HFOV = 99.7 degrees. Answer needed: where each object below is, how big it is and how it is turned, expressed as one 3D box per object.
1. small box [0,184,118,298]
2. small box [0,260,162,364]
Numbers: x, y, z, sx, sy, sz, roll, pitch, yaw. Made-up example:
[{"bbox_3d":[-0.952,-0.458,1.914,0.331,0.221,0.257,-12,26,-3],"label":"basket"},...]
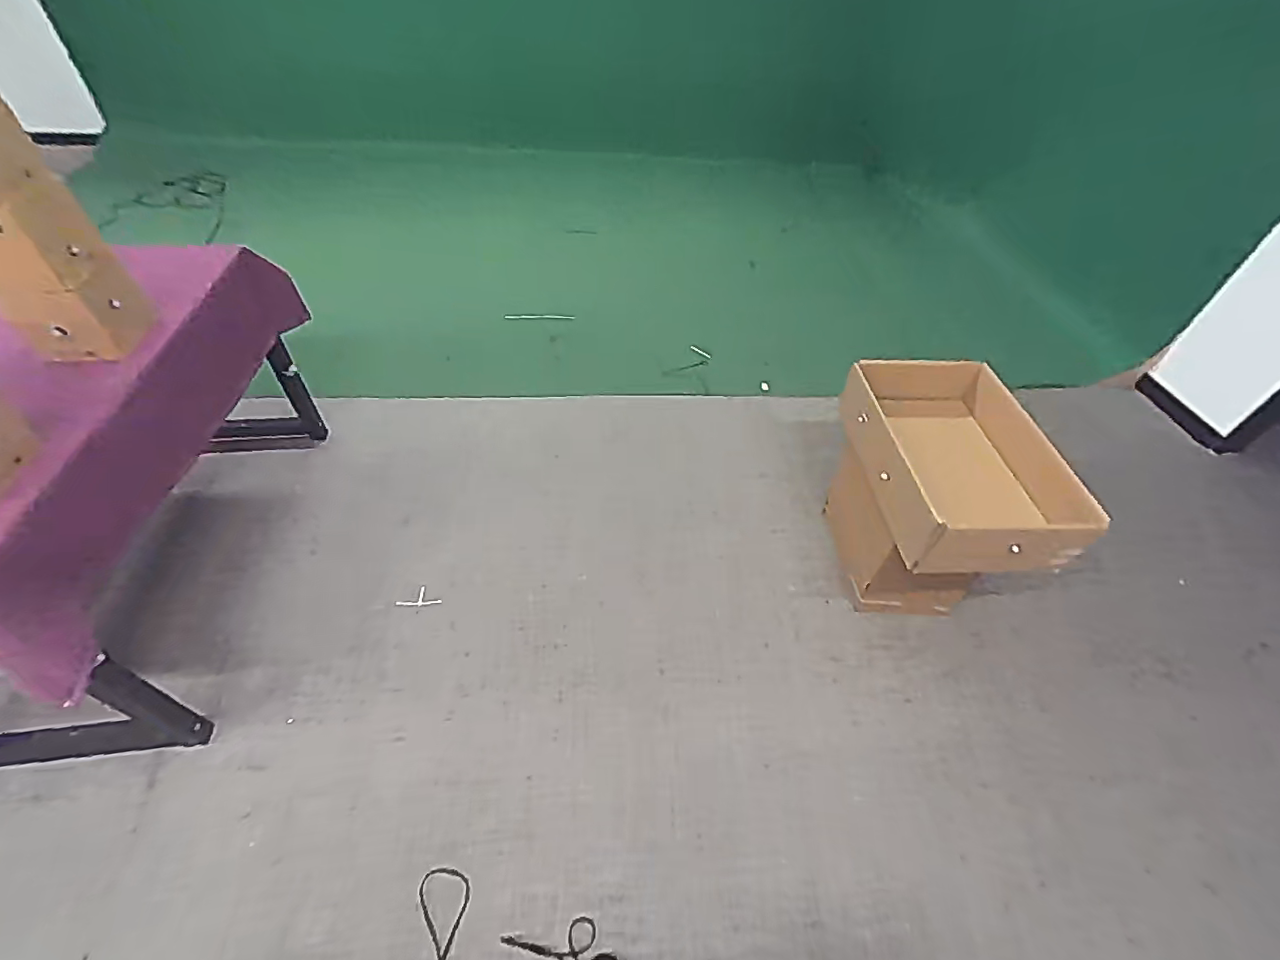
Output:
[{"bbox_3d":[-1.240,-0.482,1.094,0.179,0.176,0.168,-3,47,-6],"label":"small box"},{"bbox_3d":[-1.240,-0.373,1.216,0.168,0.176,0.179,-4,48,-7],"label":"small box"}]
